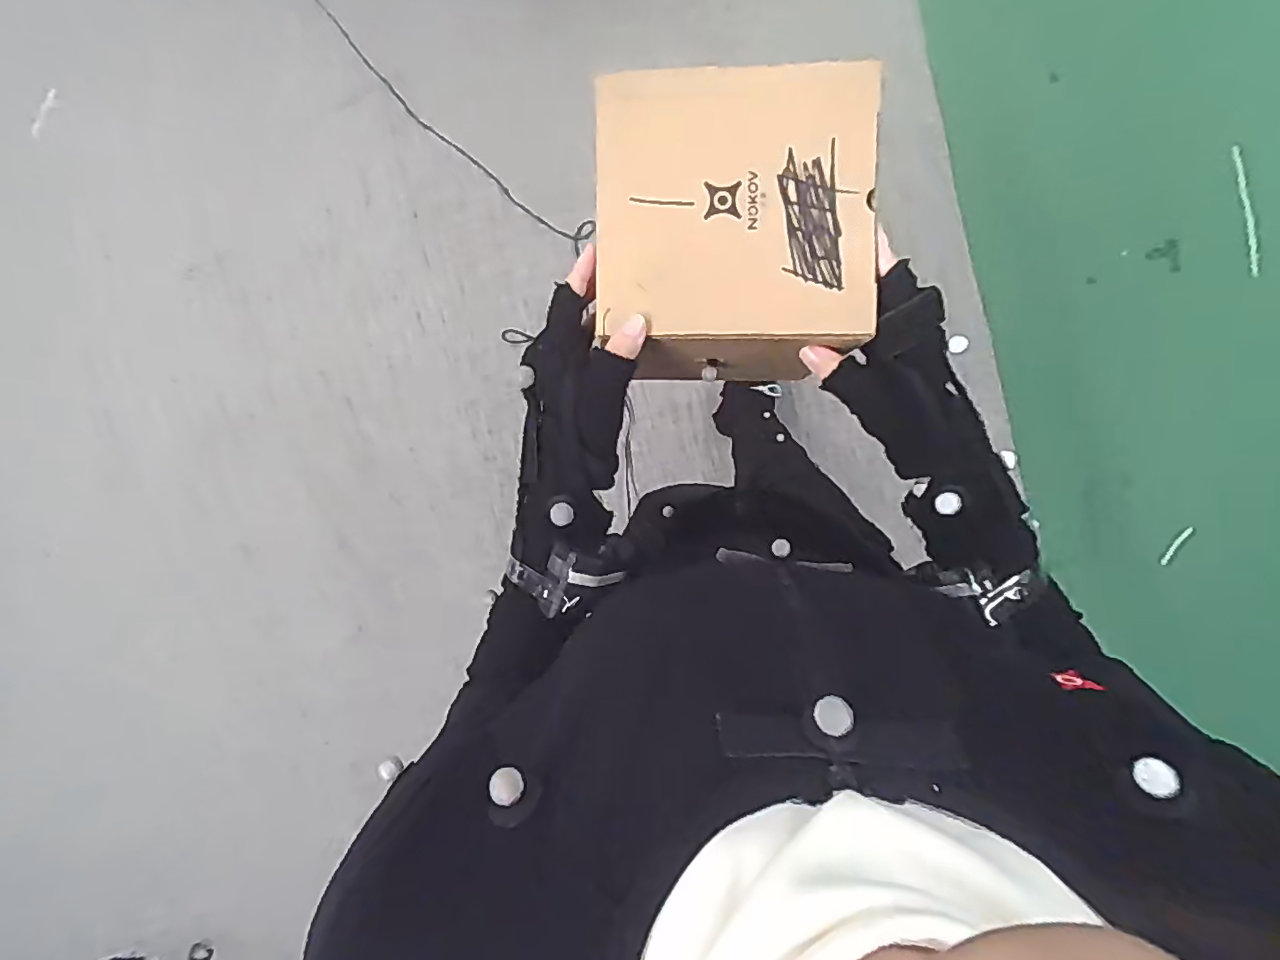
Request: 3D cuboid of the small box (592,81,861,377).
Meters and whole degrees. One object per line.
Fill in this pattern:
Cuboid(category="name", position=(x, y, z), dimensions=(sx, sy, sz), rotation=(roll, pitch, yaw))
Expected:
Cuboid(category="small box", position=(0.058, -0.181, 0.438), dimensions=(0.179, 0.176, 0.168), rotation=(1, 90, 2))
